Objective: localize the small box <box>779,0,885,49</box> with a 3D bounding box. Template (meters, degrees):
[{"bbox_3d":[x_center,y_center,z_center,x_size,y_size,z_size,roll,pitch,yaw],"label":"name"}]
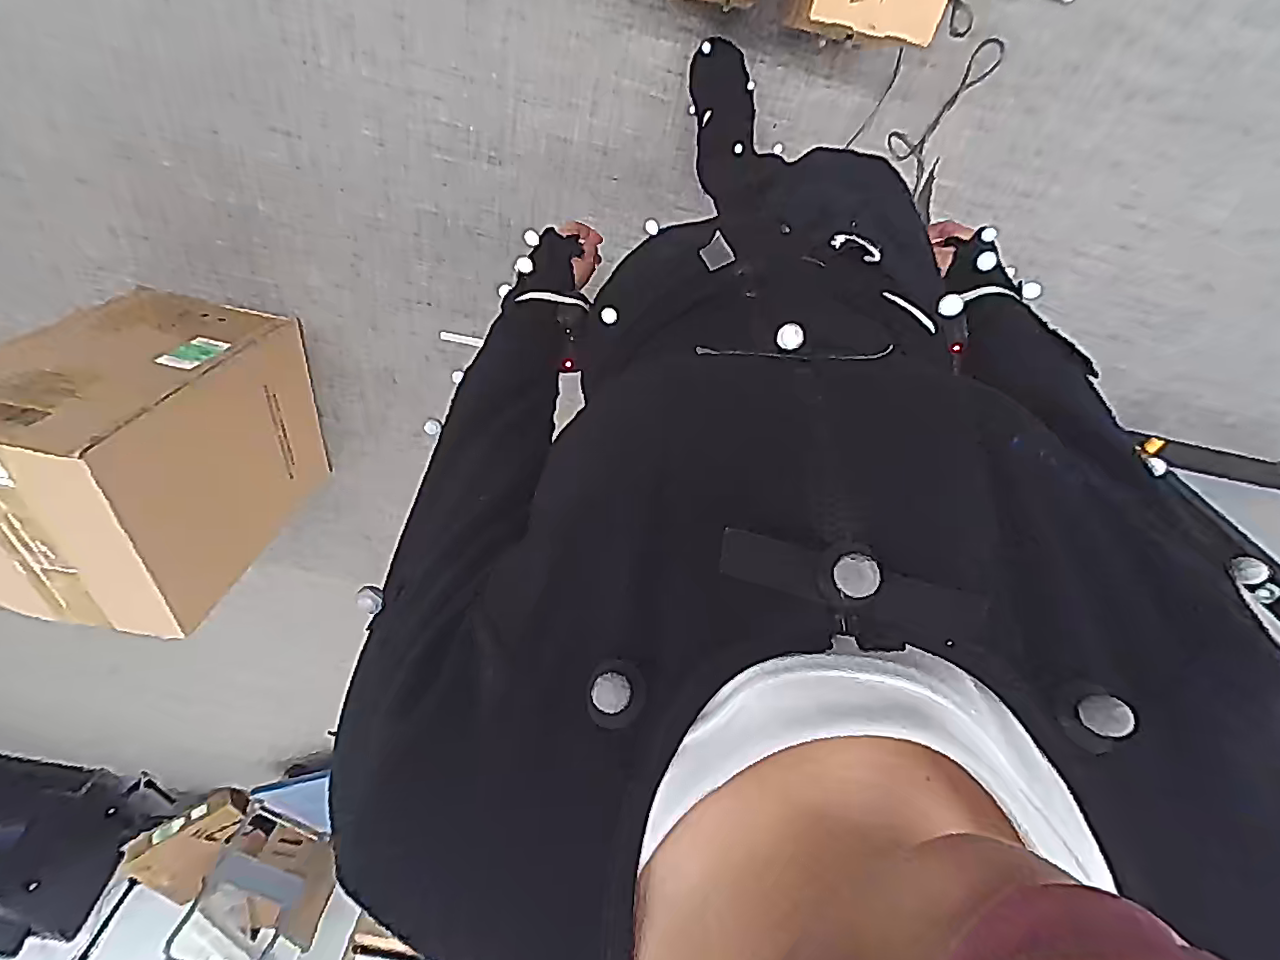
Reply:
[{"bbox_3d":[0.328,-0.804,0.844,0.168,0.176,0.179,12,129,-4],"label":"small box"}]

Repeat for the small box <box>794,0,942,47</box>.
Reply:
[{"bbox_3d":[0.316,-0.701,0.716,0.168,0.176,0.179,11,129,-2],"label":"small box"}]
